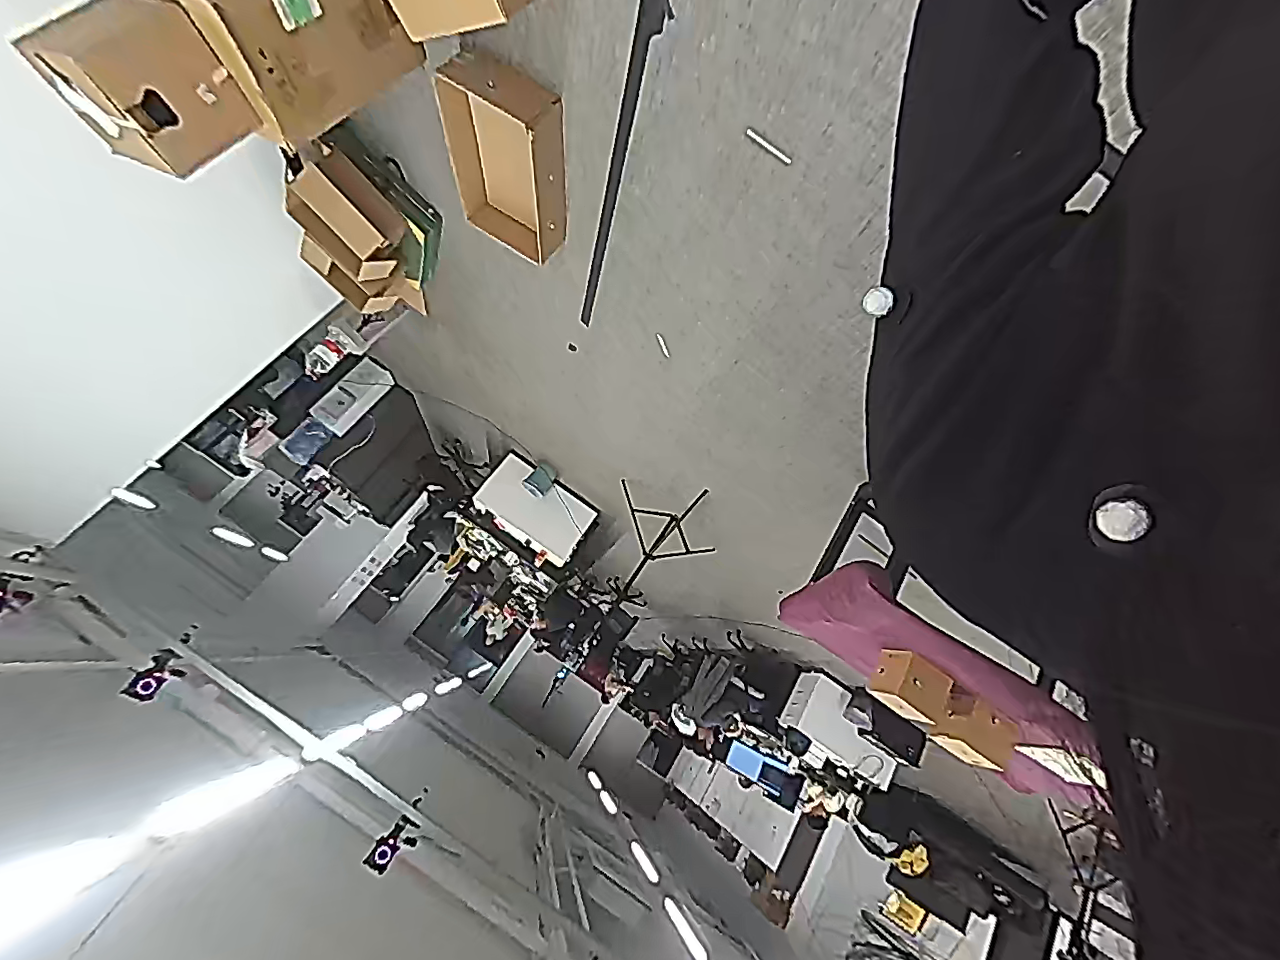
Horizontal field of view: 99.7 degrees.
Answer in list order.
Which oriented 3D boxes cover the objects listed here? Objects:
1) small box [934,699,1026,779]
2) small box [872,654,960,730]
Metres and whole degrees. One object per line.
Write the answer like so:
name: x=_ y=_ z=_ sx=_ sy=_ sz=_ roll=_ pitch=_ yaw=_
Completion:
small box: x=1.149 y=0.865 z=1.827 sx=0.179 sy=0.176 sz=0.168 roll=36 pitch=159 yaw=1
small box: x=0.933 y=0.710 z=1.830 sx=0.179 sy=0.176 sz=0.168 roll=35 pitch=161 yaw=-3
